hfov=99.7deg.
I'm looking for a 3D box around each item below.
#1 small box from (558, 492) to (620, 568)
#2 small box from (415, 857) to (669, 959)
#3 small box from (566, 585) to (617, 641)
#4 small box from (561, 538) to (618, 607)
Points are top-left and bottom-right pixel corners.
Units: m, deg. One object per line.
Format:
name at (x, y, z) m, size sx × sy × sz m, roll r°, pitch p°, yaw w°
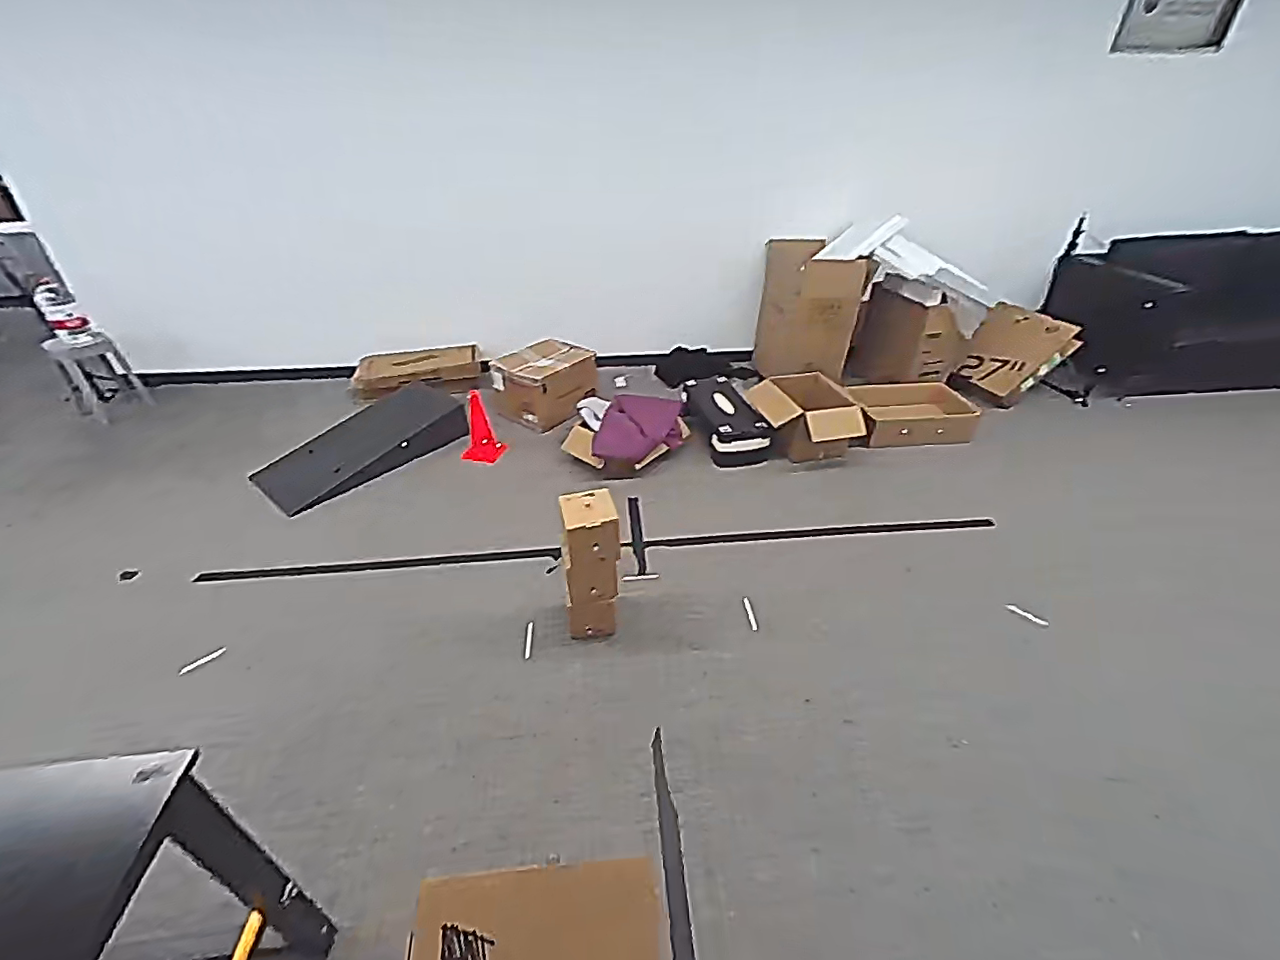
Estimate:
small box at (-0.164, 0.167, 1.742) m, size 0.168 × 0.176 × 0.179 m, roll -10°, pitch 36°, yaw -12°
small box at (-0.068, 0.404, 0.413) m, size 0.179 × 0.176 × 0.168 m, roll -1°, pitch 51°, yaw -7°
small box at (-0.173, 0.445, 1.919) m, size 0.168 × 0.176 × 0.179 m, roll -6°, pitch 36°, yaw -7°
small box at (-0.173, 0.301, 1.837) m, size 0.168 × 0.176 × 0.179 m, roll -10°, pitch 35°, yaw -10°
